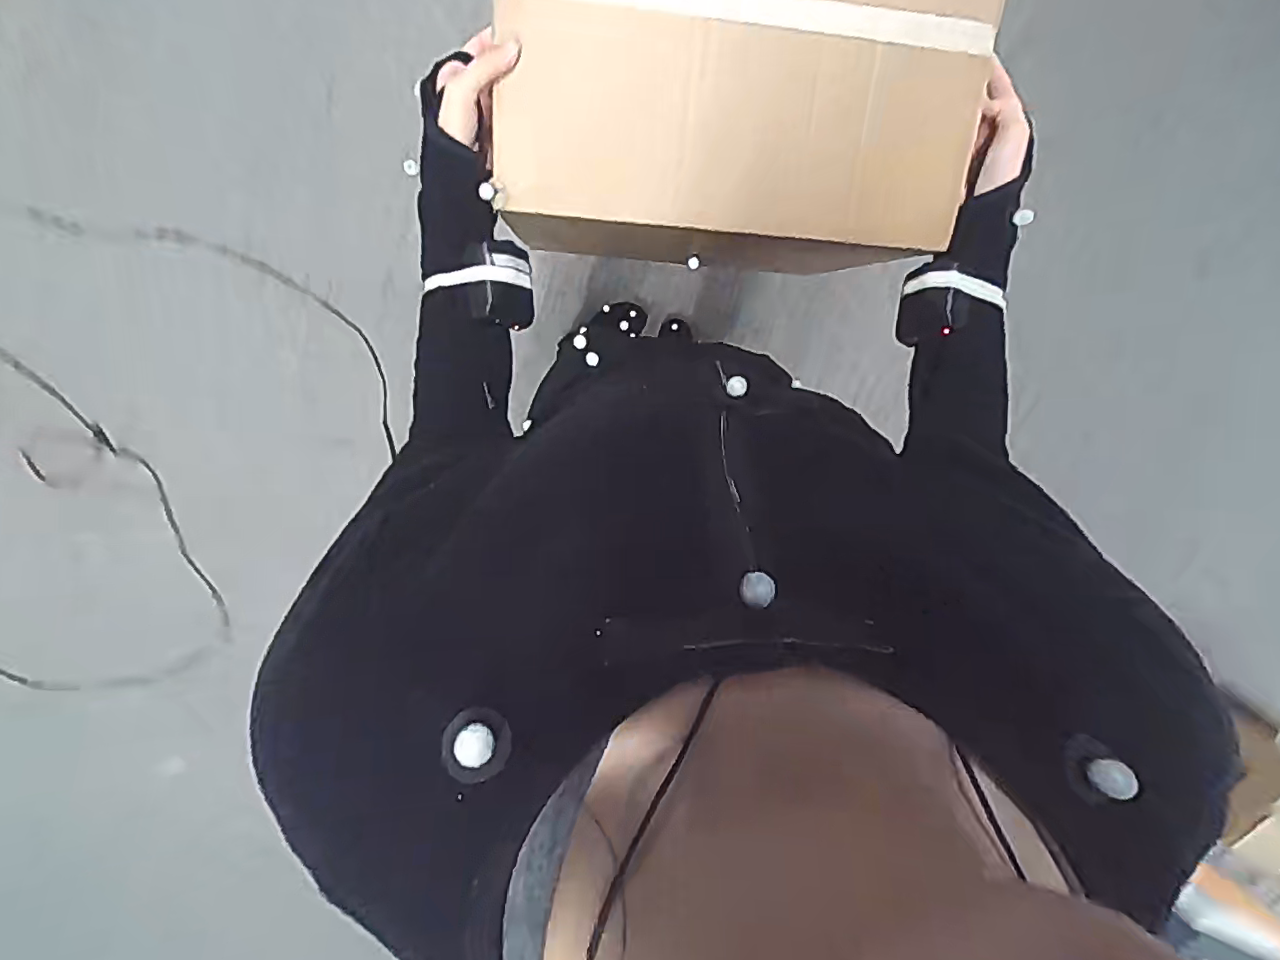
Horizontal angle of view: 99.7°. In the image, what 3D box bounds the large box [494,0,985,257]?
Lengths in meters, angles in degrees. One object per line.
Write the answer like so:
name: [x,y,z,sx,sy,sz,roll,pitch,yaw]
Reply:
large box: [0.073,-0.419,0.575,0.408,0.320,0.320,1,107,-6]
